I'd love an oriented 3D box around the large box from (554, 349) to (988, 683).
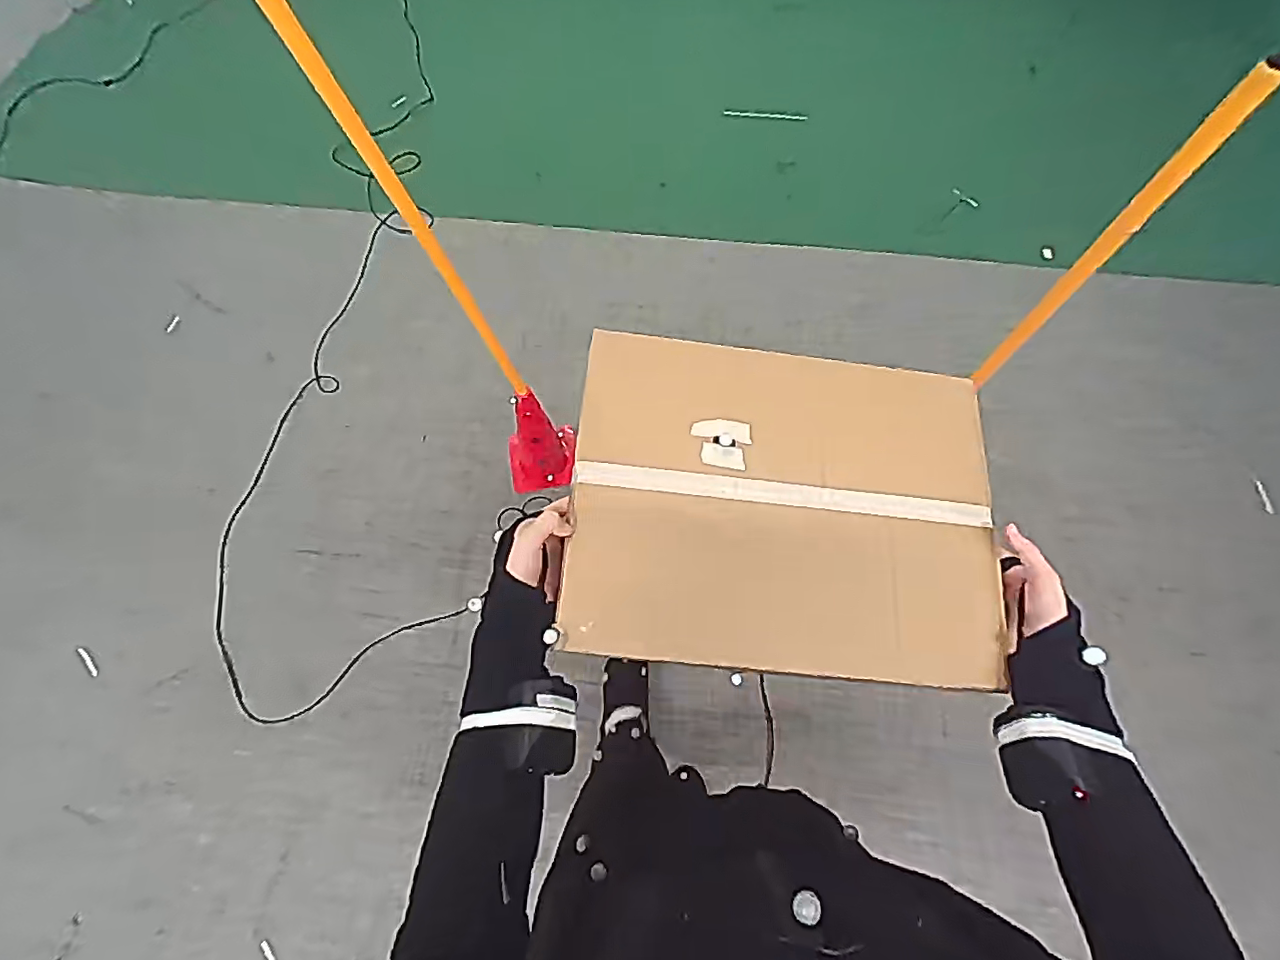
[{"bbox_3d":[0.121,0.067,0.668,0.408,0.320,0.320,5,71,-3],"label":"large box"}]
